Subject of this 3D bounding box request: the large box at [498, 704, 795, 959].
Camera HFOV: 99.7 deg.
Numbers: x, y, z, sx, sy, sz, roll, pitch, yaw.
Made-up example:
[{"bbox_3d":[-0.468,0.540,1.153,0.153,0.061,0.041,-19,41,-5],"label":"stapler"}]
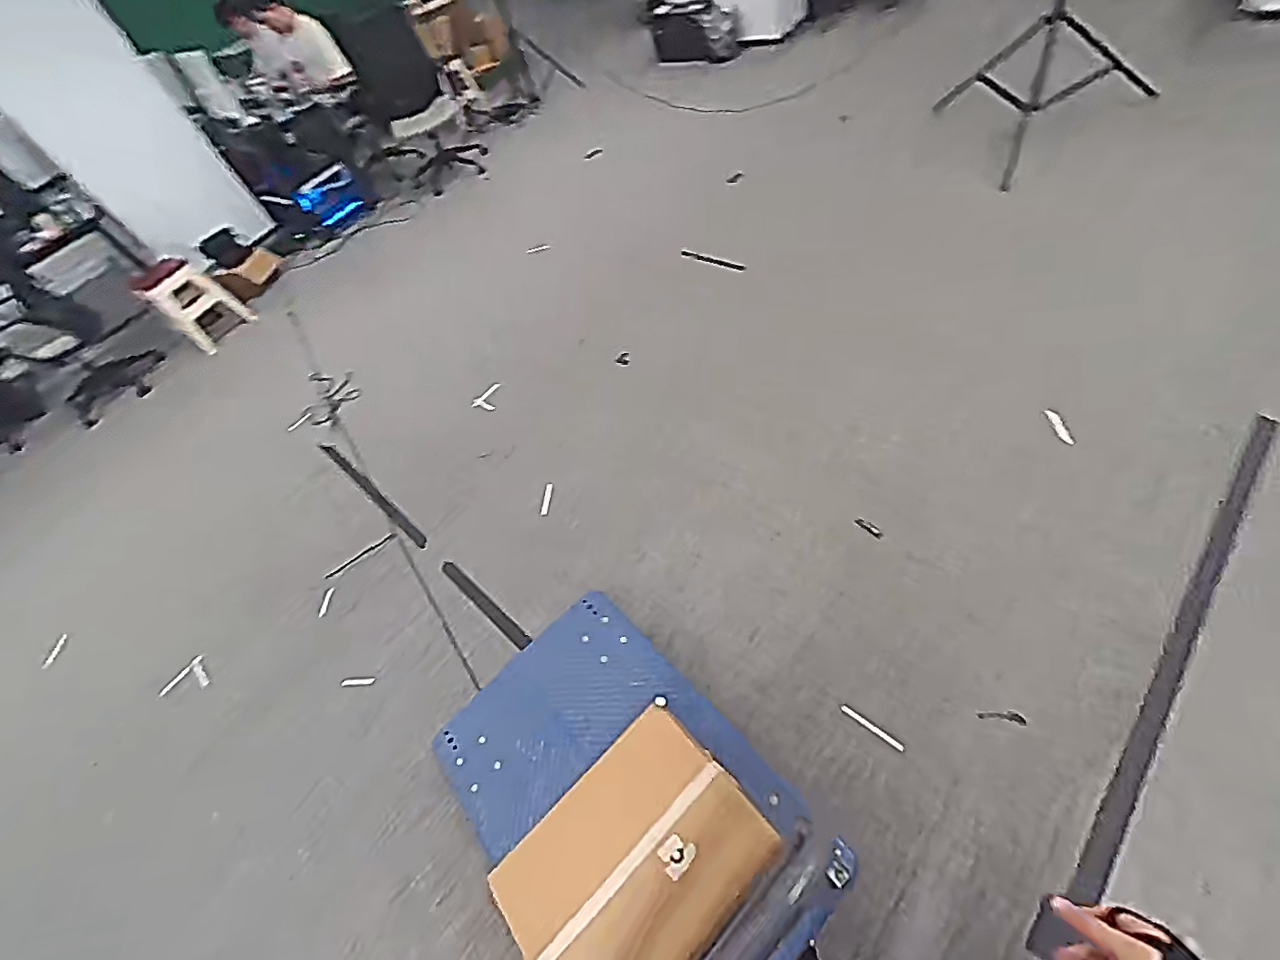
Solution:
[{"bbox_3d":[0.032,0.708,0.988,0.408,0.320,0.320,-42,53,-14],"label":"large box"}]
